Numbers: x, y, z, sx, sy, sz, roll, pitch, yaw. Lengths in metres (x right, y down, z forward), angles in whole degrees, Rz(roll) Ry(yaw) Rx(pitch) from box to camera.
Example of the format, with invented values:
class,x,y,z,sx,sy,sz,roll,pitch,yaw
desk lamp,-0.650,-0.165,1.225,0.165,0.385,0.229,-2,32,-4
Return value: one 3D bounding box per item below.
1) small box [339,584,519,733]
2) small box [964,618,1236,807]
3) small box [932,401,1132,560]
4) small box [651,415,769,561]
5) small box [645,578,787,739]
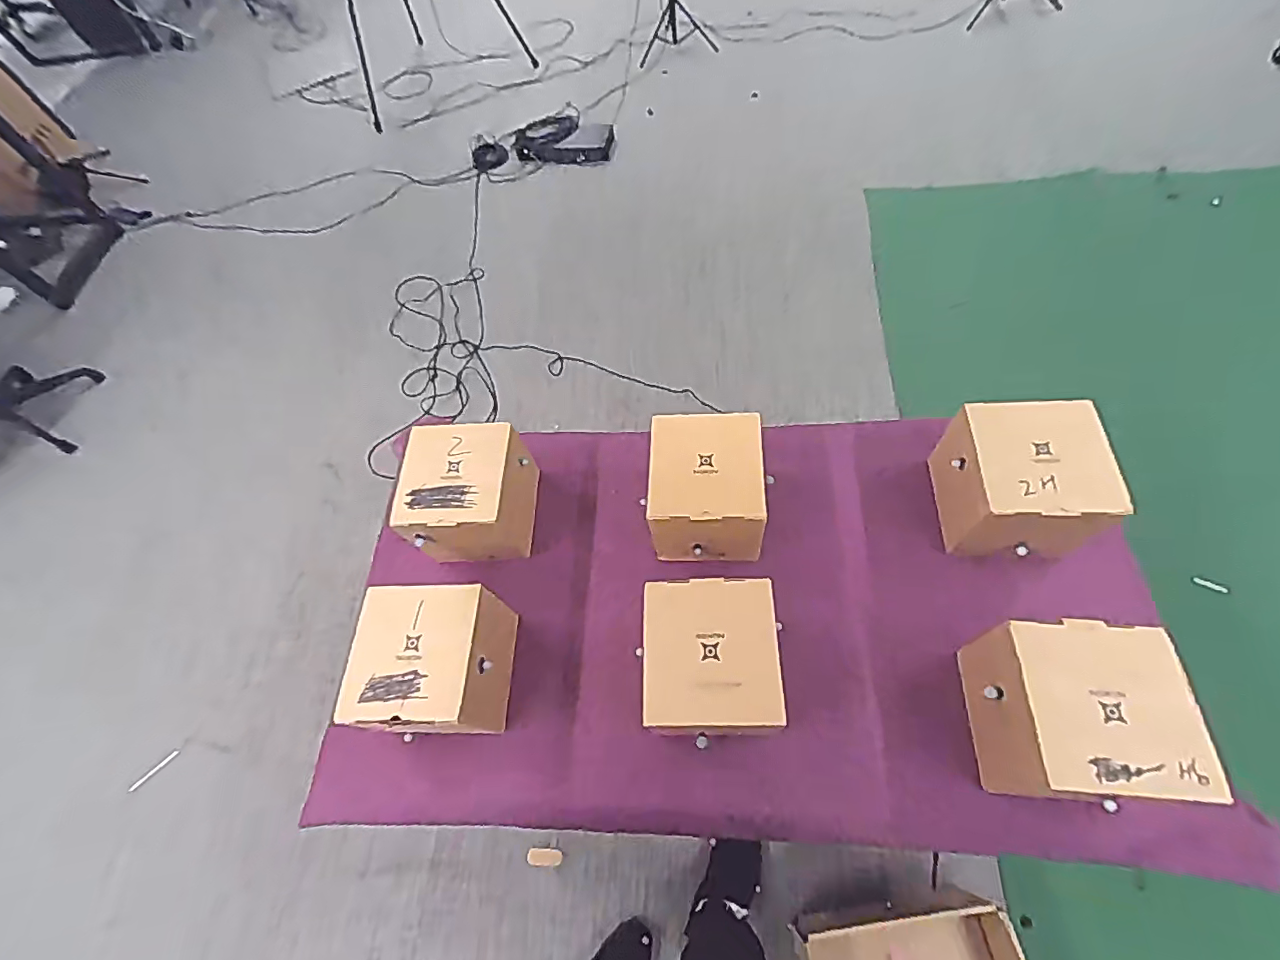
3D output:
class,x,y,z,sx,sy,sz,roll,pitch,yaw
small box,-0.283,0.259,0.770,0.168,0.176,0.179,-2,59,6
small box,0.516,0.280,0.646,0.168,0.176,0.179,0,58,10
small box,0.552,0.004,0.794,0.168,0.176,0.179,-1,62,10
small box,0.108,0.016,0.855,0.168,0.176,0.179,-1,62,7
small box,0.098,0.244,0.728,0.168,0.176,0.179,-3,60,7
